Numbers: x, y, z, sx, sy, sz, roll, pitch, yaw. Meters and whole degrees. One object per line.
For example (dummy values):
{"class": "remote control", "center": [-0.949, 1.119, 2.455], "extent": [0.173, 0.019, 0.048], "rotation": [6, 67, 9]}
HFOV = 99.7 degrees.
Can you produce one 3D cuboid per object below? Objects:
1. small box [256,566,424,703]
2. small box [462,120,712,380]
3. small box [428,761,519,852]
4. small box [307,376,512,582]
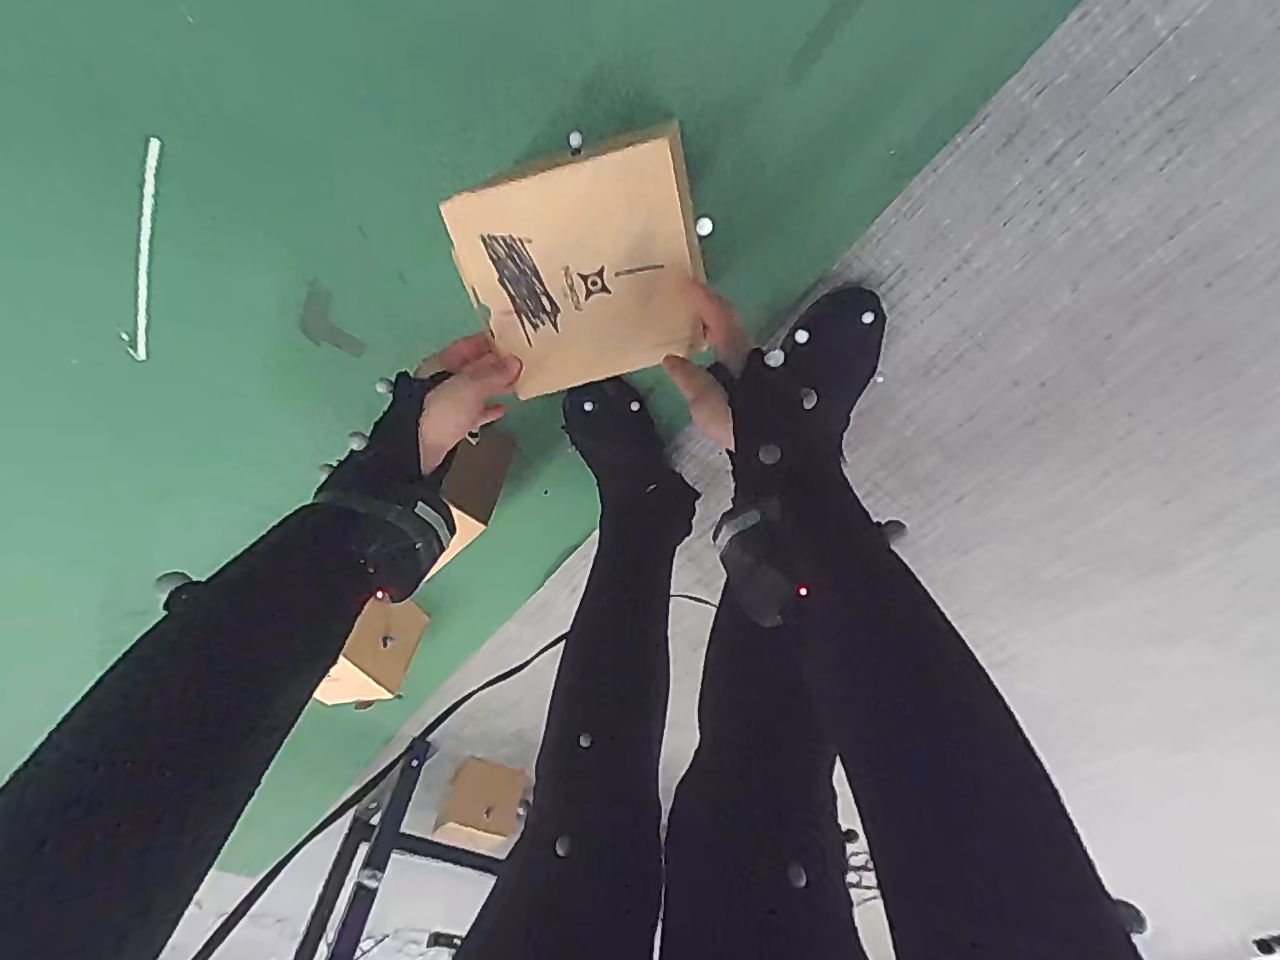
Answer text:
{"class": "small box", "center": [-0.532, 0.284, 0.991], "extent": [0.168, 0.176, 0.179], "rotation": [-13, 129, 17]}
{"class": "small box", "center": [-0.031, -0.217, 0.507], "extent": [0.179, 0.176, 0.168], "rotation": [-8, 127, 12]}
{"class": "small box", "center": [-0.464, 0.921, 1.528], "extent": [0.179, 0.176, 0.168], "rotation": [29, 126, -18]}
{"class": "small box", "center": [-0.293, -0.001, 0.721], "extent": [0.168, 0.176, 0.179], "rotation": [37, 123, -25]}
